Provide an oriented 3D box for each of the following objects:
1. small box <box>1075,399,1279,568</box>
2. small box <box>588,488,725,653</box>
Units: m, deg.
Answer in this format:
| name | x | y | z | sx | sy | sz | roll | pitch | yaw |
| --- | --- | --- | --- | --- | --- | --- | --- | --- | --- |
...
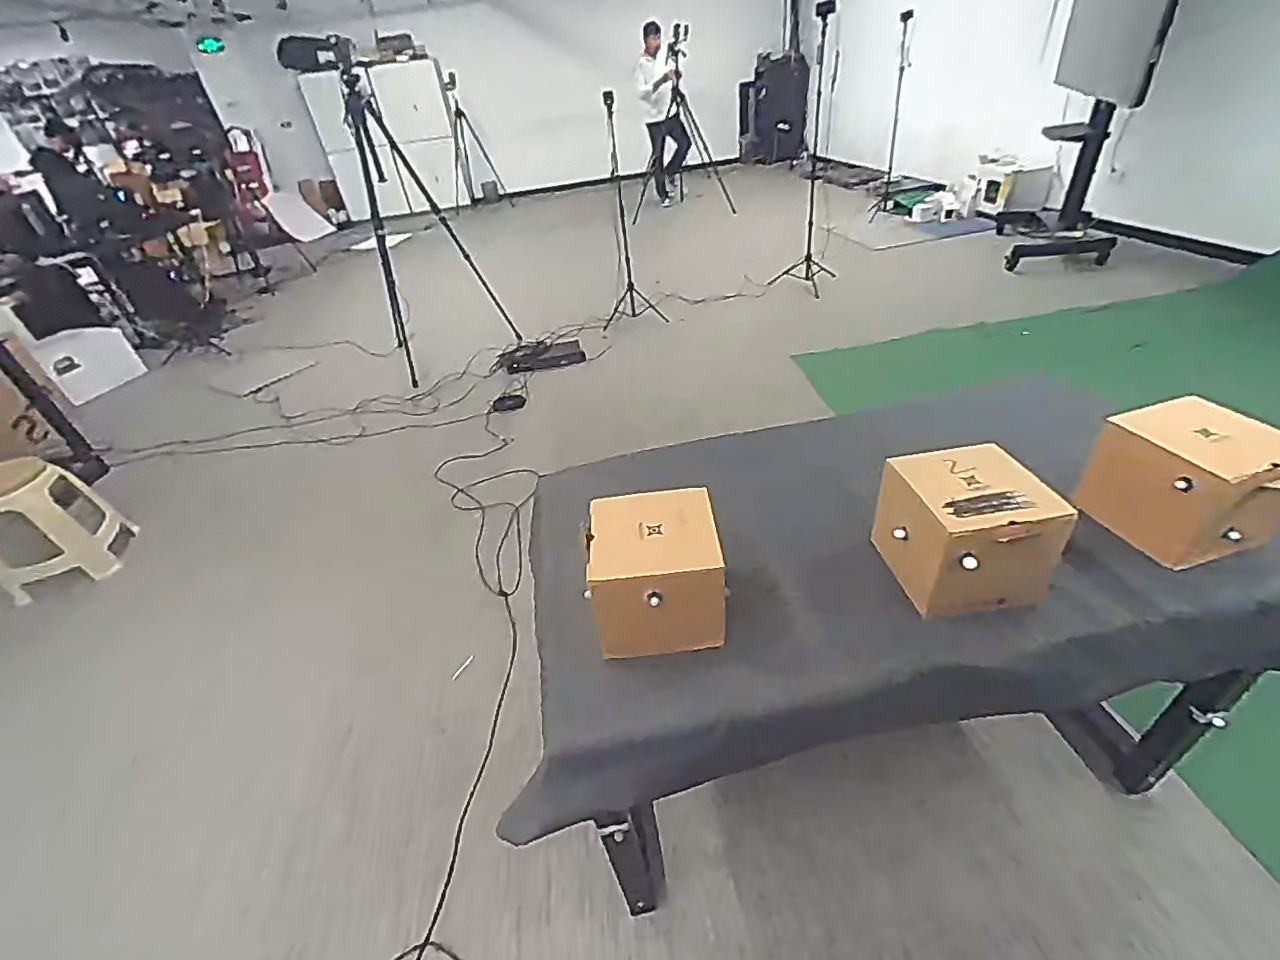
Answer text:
| name | x | y | z | sx | sy | sz | roll | pitch | yaw |
| --- | --- | --- | --- | --- | --- | --- | --- | --- | --- |
| small box | 0.817 | 0.003 | 0.814 | 0.168 | 0.176 | 0.179 | -14 | 37 | -8 |
| small box | 0.025 | 0.133 | 0.784 | 0.179 | 0.176 | 0.168 | -6 | 38 | 1 |
